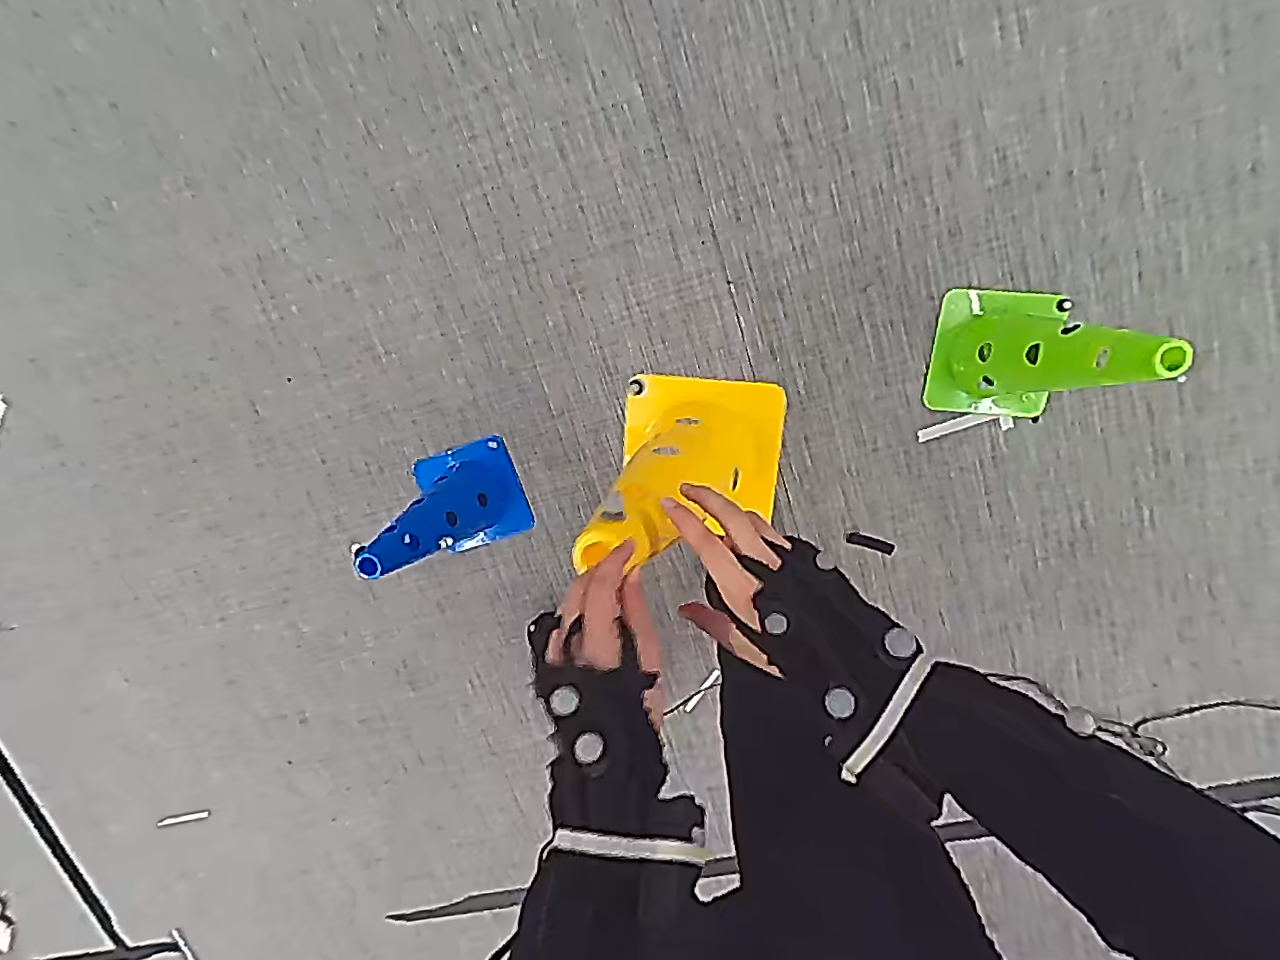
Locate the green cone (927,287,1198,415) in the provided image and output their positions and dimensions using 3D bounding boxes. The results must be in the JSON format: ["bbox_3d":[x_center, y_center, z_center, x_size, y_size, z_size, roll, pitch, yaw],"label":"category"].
[{"bbox_3d":[0.576,-0.168,0.734,0.200,0.368,0.202,5,105,5],"label":"green cone"}]
